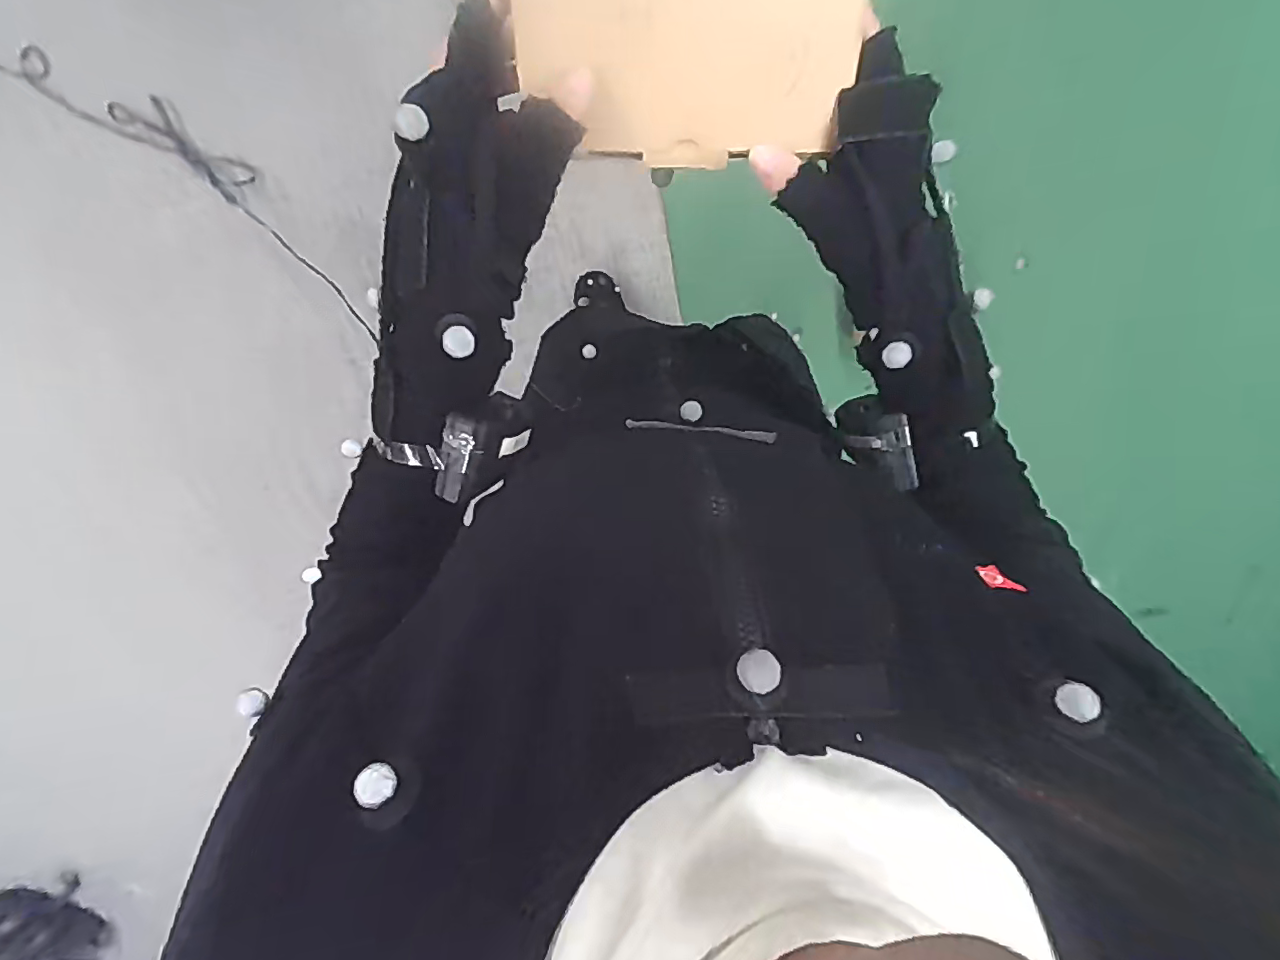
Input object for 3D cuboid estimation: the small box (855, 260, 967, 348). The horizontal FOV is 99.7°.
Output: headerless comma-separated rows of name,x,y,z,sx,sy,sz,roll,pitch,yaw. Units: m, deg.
small box,0.614,-0.411,1.249,0.179,0.176,0.168,-9,114,-1
